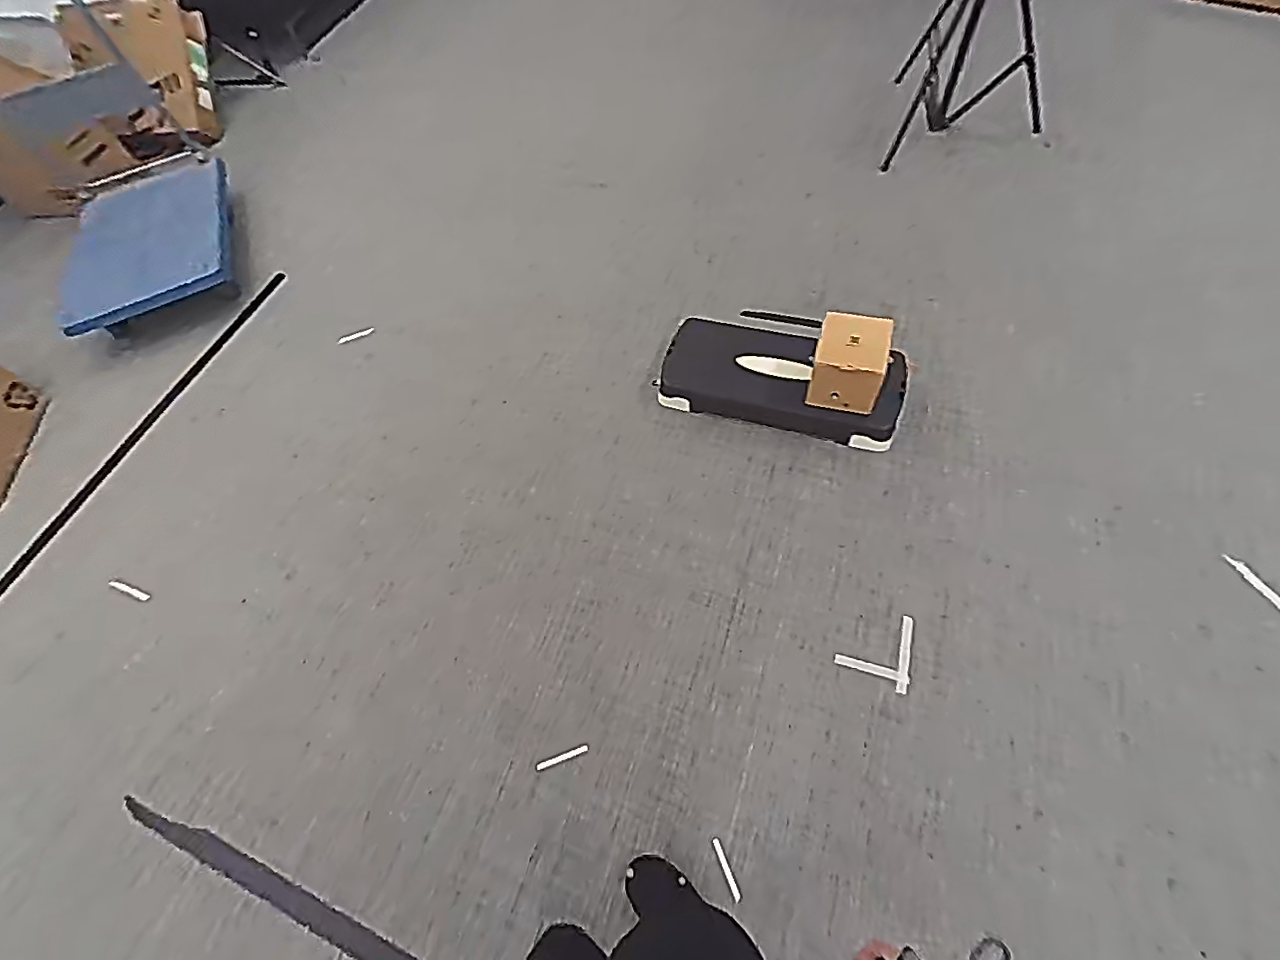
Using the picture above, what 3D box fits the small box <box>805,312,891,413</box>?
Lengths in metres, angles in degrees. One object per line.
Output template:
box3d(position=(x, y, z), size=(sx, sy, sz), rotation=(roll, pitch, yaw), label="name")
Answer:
box3d(position=(0.531, -0.301, 1.395), size=(0.168, 0.176, 0.179), rotation=(12, 65, 14), label="small box")
